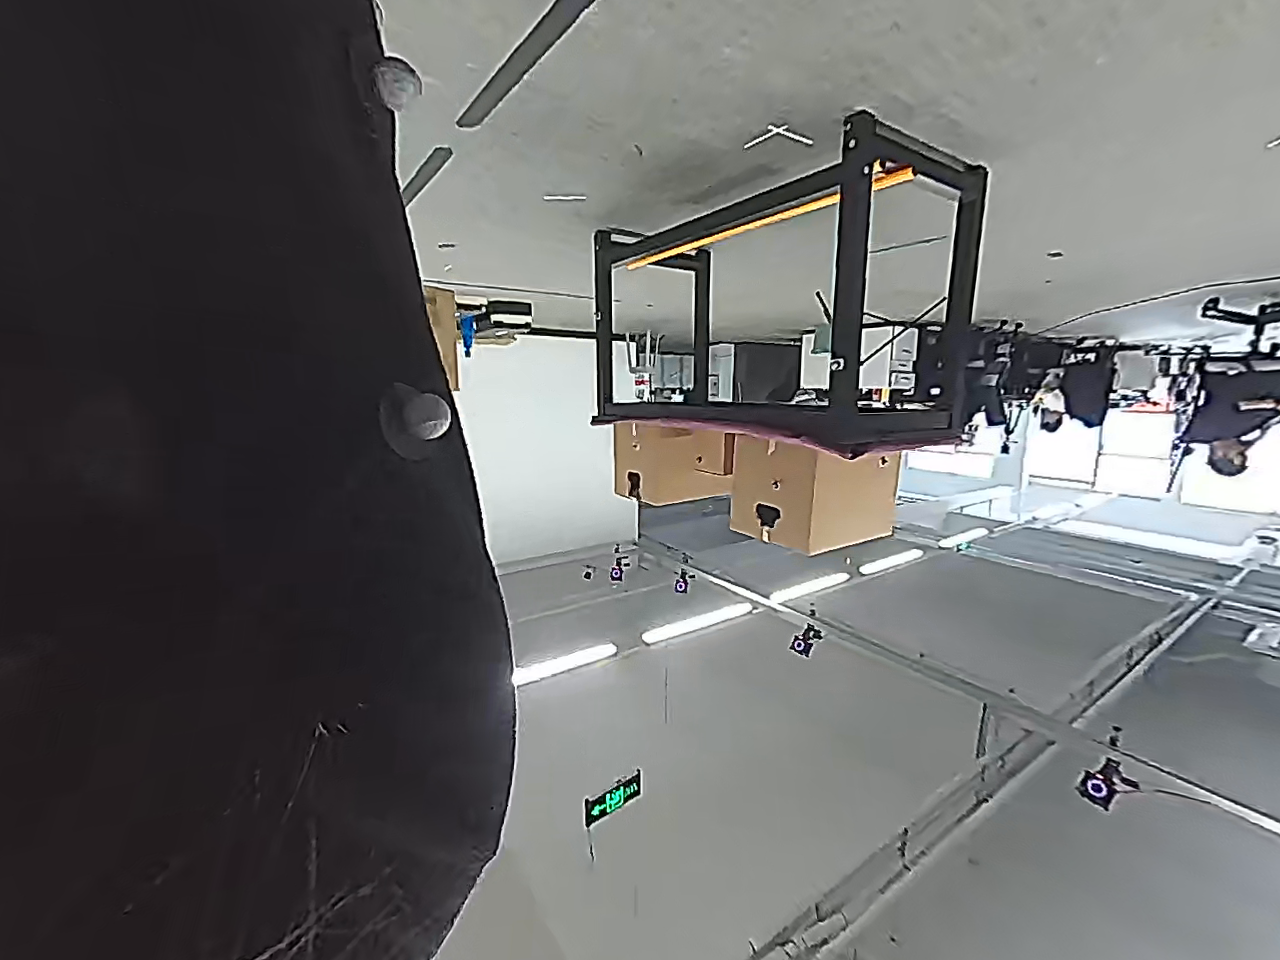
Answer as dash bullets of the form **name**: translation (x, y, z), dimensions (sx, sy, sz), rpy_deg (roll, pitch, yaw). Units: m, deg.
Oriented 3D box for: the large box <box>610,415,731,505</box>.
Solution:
- **large box**: translation (0.124, -0.097, 2.224), dimensions (0.408, 0.320, 0.320), rpy_deg (-8, -167, -34)
